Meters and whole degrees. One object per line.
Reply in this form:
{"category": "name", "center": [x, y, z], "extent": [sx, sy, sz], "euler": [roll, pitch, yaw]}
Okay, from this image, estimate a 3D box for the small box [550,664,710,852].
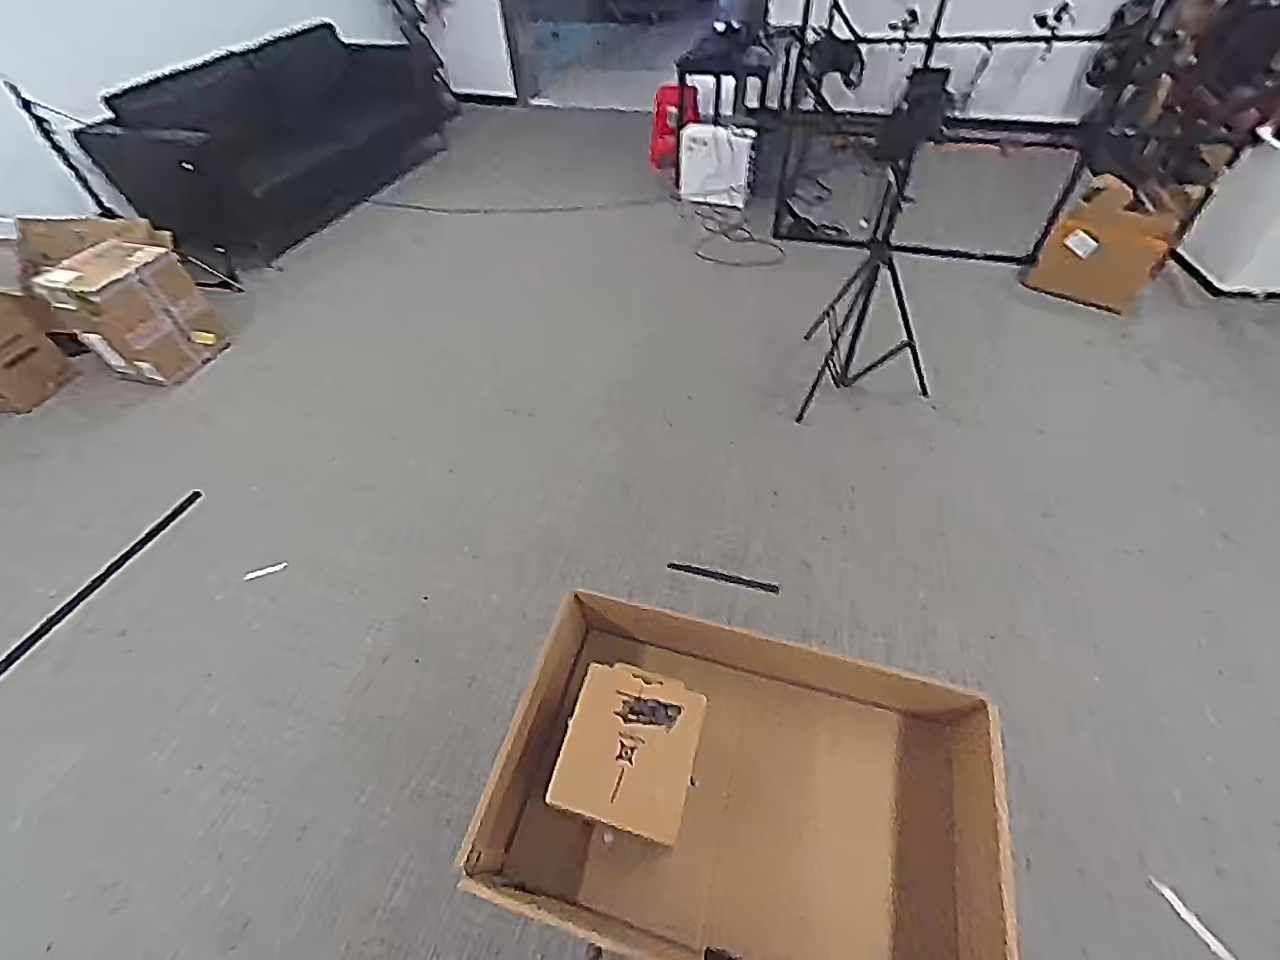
{"category": "small box", "center": [-0.005, 0.386, 0.747], "extent": [0.168, 0.176, 0.179], "euler": [12, 56, 13]}
